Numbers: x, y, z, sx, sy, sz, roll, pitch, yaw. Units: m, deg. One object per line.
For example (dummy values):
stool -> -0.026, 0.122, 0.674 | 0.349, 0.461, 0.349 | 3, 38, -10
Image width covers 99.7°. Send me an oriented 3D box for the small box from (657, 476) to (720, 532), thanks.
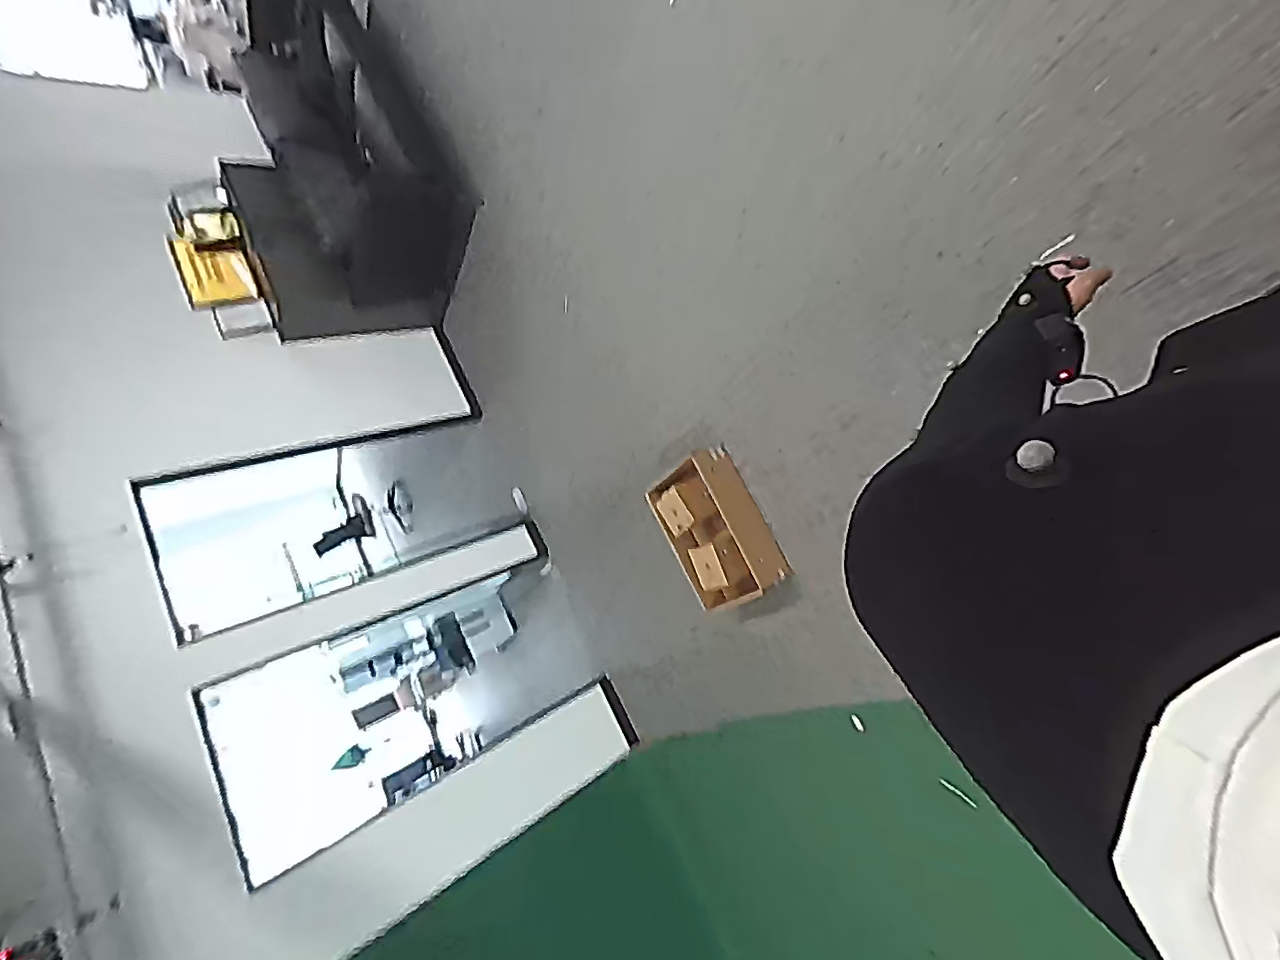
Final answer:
small box -> 0.212, 0.097, 2.348 | 0.179, 0.176, 0.168 | 60, 142, 14
